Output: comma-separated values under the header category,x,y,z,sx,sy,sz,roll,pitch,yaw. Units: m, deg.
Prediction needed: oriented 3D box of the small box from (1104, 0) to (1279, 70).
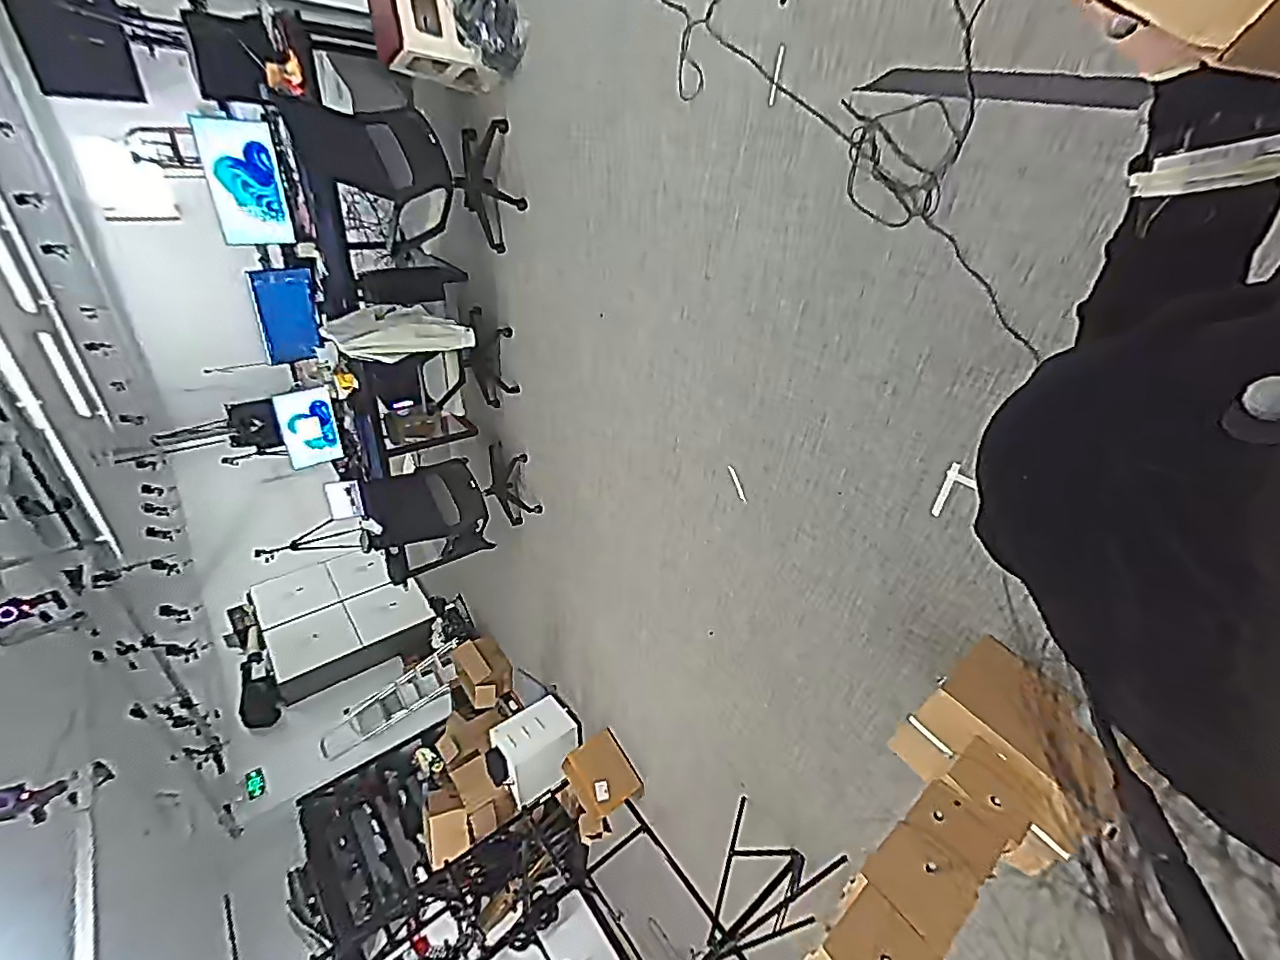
category,x,y,z,sx,sy,sz,roll,pitch,yaw
small box,0.267,-0.294,0.204,0.168,0.176,0.179,57,150,21

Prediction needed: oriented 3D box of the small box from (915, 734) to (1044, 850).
category,x,y,z,sx,sy,sz,roll,pitch,yaw
small box,0.808,0.751,1.287,0.179,0.176,0.168,45,138,32

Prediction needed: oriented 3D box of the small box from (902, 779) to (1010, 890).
category,x,y,z,sx,sy,sz,roll,pitch,yaw
small box,0.685,0.814,1.201,0.168,0.176,0.179,31,131,43

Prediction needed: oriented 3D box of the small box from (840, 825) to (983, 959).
category,x,y,z,sx,sy,sz,roll,pitch,yaw
small box,0.554,0.855,1.111,0.179,0.176,0.168,37,134,39
